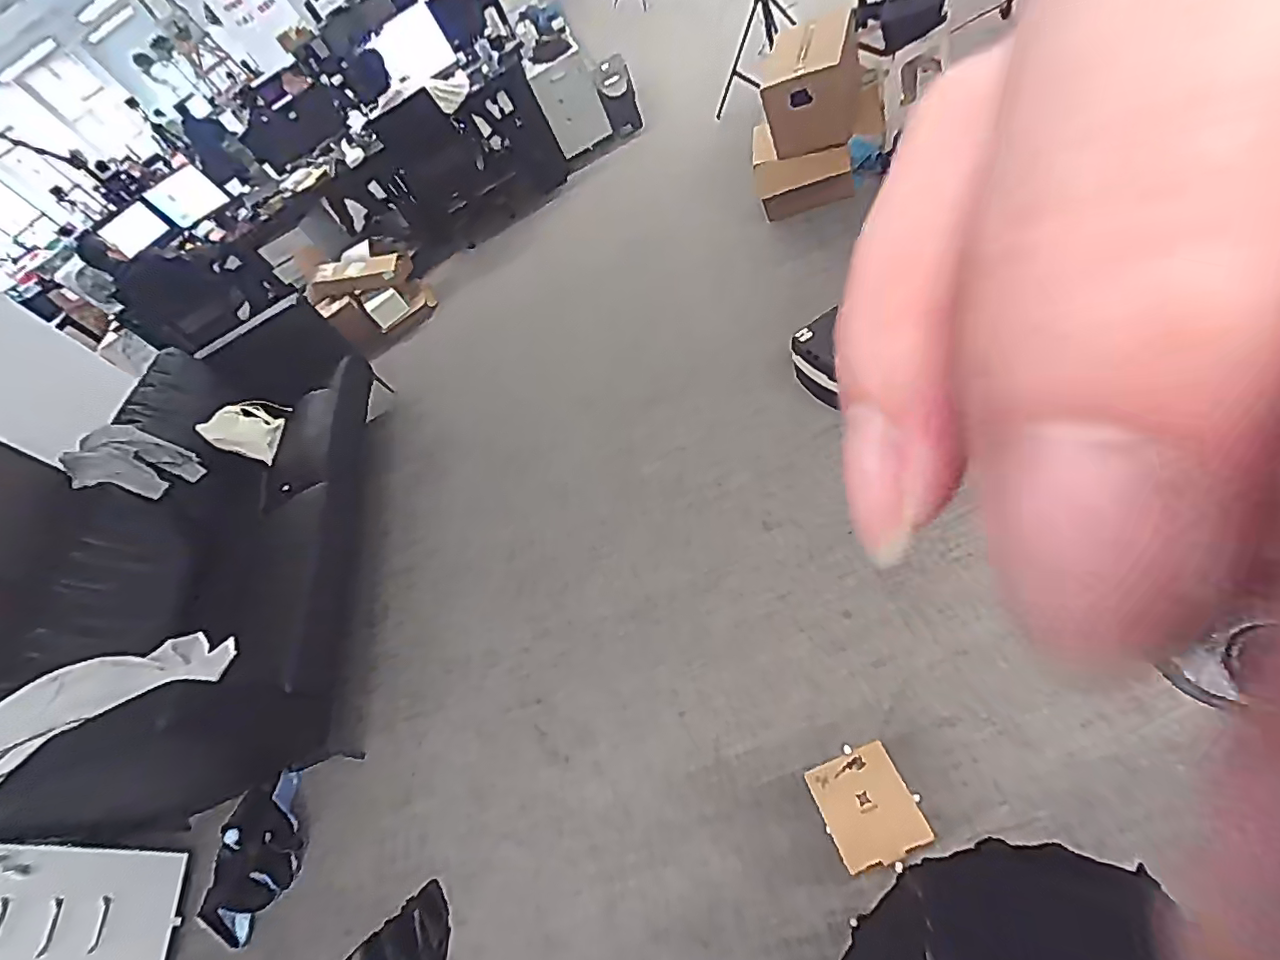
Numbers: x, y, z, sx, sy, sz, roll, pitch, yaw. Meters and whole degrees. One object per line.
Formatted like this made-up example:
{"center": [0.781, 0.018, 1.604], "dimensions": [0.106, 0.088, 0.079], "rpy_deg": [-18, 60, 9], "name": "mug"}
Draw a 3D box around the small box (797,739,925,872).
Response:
{"center": [0.440, 0.646, 1.073], "dimensions": [0.168, 0.176, 0.179], "rpy_deg": [-29, 49, 6], "name": "small box"}
